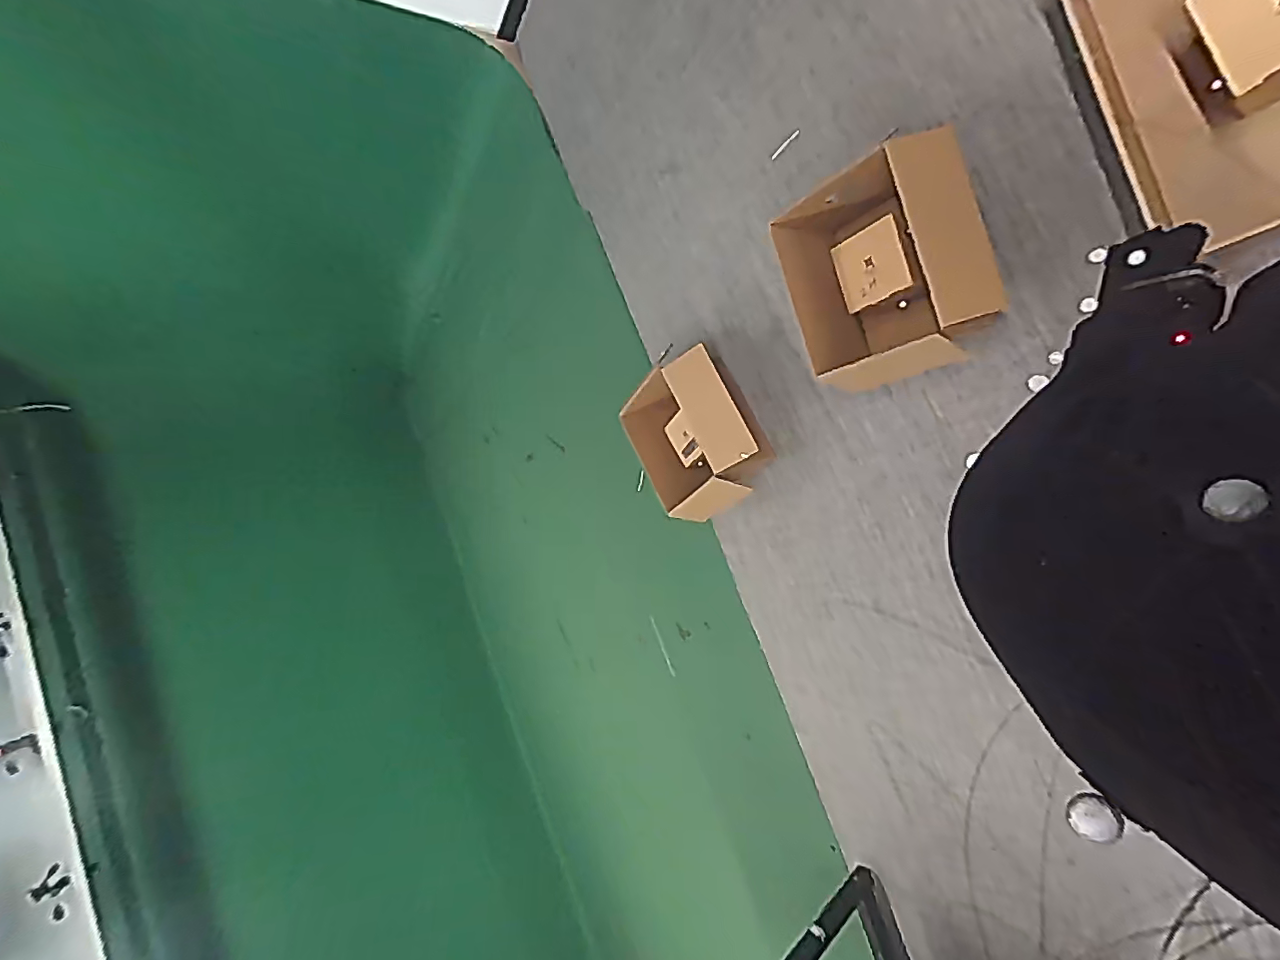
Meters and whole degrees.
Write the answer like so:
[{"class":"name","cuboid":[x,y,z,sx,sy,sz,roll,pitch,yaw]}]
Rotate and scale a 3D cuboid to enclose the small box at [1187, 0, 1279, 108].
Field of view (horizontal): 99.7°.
[{"class":"small box","cuboid":[0.965,-0.700,0.804,0.168,0.176,0.179,-29,80,51]}]
